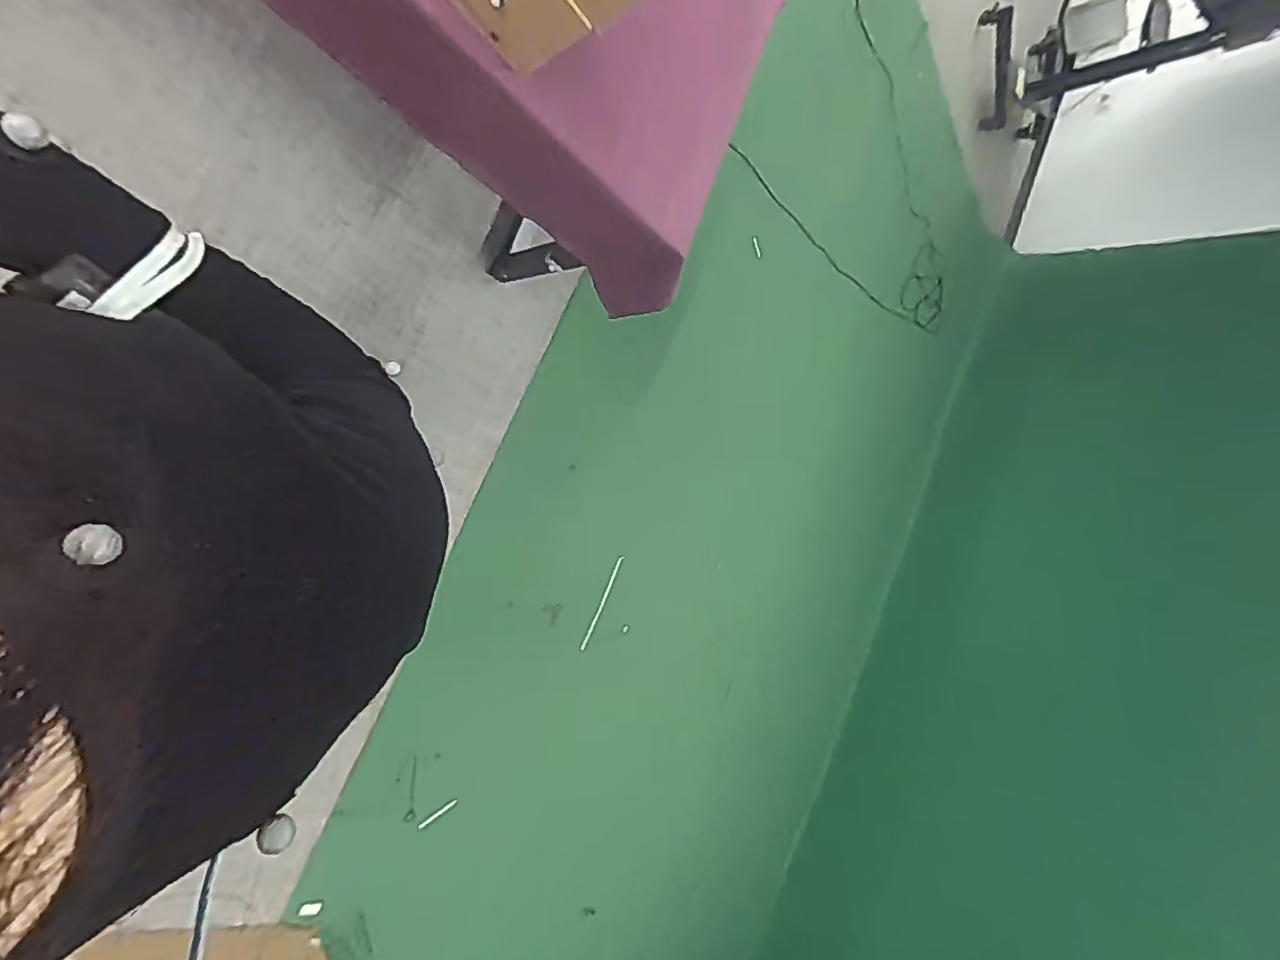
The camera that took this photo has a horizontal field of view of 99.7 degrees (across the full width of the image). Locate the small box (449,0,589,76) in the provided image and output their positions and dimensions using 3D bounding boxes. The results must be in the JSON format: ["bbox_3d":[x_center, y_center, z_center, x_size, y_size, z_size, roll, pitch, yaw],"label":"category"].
[{"bbox_3d":[-0.141,-0.663,0.677,0.168,0.176,0.179,30,79,-43],"label":"small box"}]
